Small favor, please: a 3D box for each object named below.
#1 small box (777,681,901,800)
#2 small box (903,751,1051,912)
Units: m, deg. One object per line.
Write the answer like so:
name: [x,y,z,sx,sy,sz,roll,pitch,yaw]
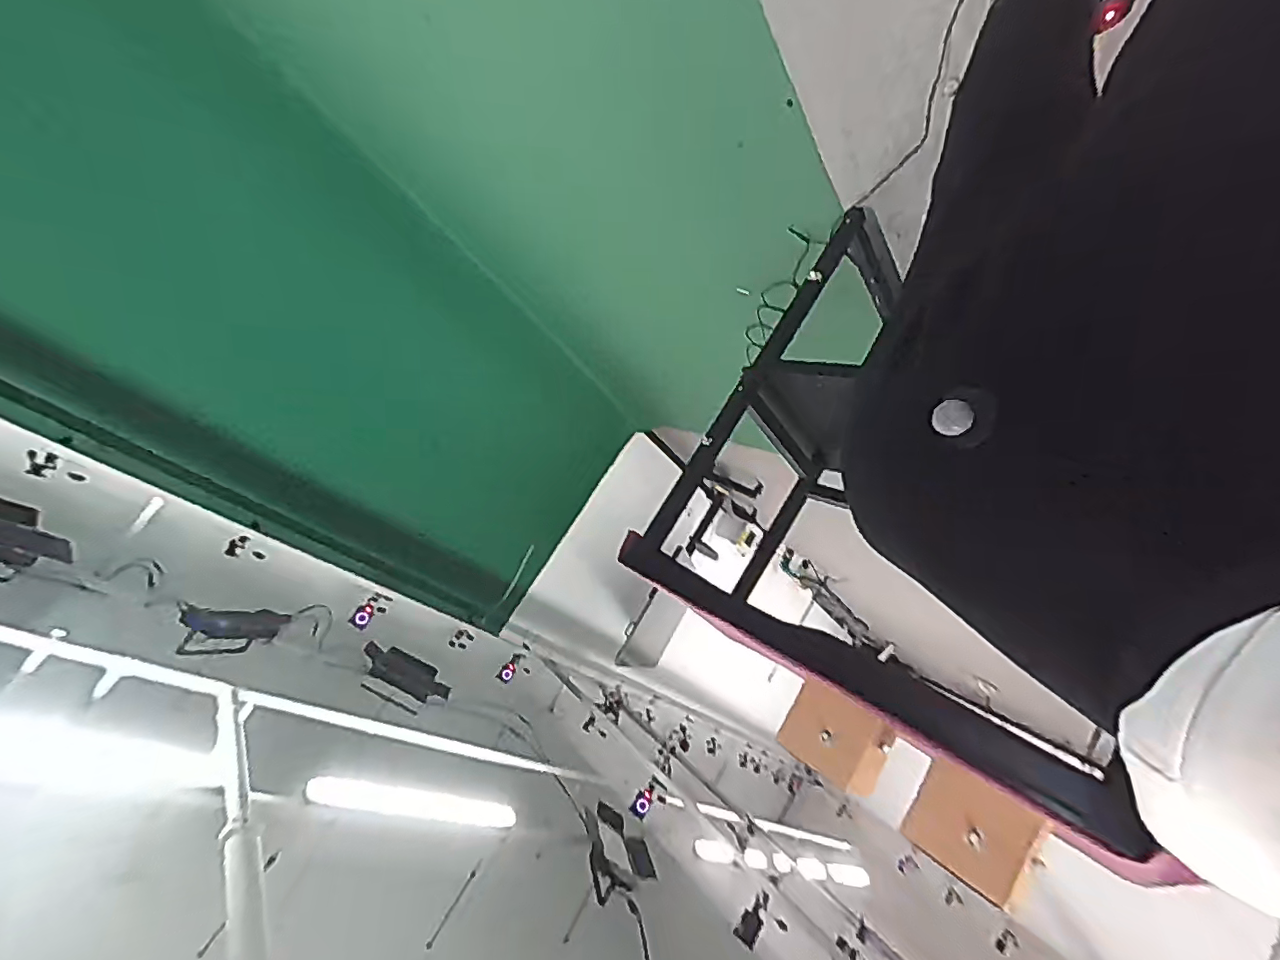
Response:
small box: [0.438,0.559,1.183,0.179,0.176,0.168,21,165,45]
small box: [0.608,0.620,0.967,0.179,0.176,0.168,21,164,47]
